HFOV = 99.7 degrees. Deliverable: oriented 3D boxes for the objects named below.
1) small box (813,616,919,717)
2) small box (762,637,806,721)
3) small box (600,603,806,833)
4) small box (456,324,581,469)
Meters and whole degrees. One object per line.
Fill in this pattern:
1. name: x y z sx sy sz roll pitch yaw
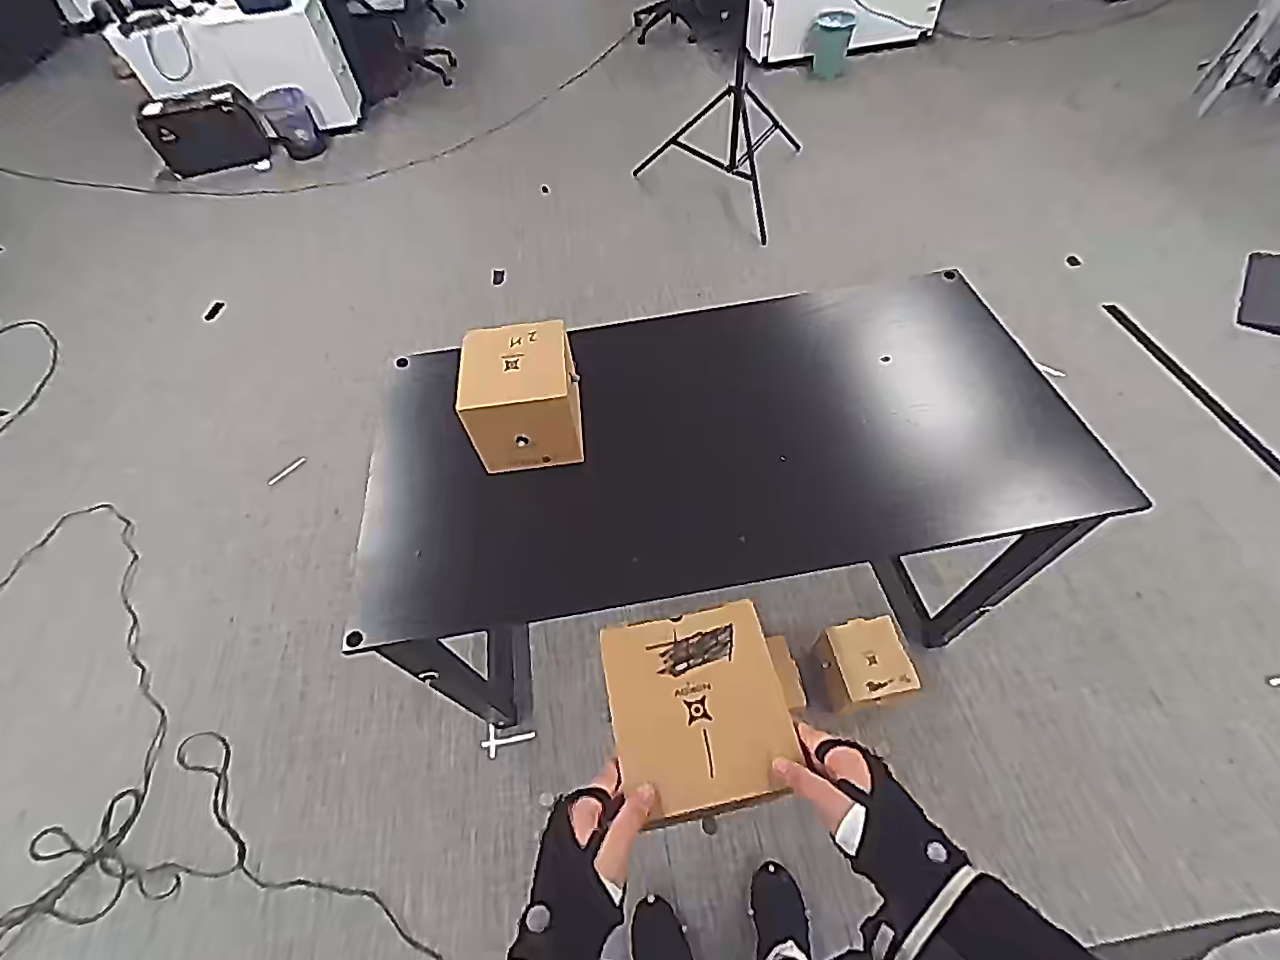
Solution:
1. small box: 0.542 0.459 1.326 0.168 0.176 0.179 -11 55 -2
2. small box: 0.283 0.503 1.322 0.179 0.176 0.168 -11 55 -2
3. small box: 0.055 0.258 0.581 0.168 0.176 0.179 -11 55 -4
4. small box: -0.195 -0.132 0.909 0.168 0.176 0.179 -7 55 -1
